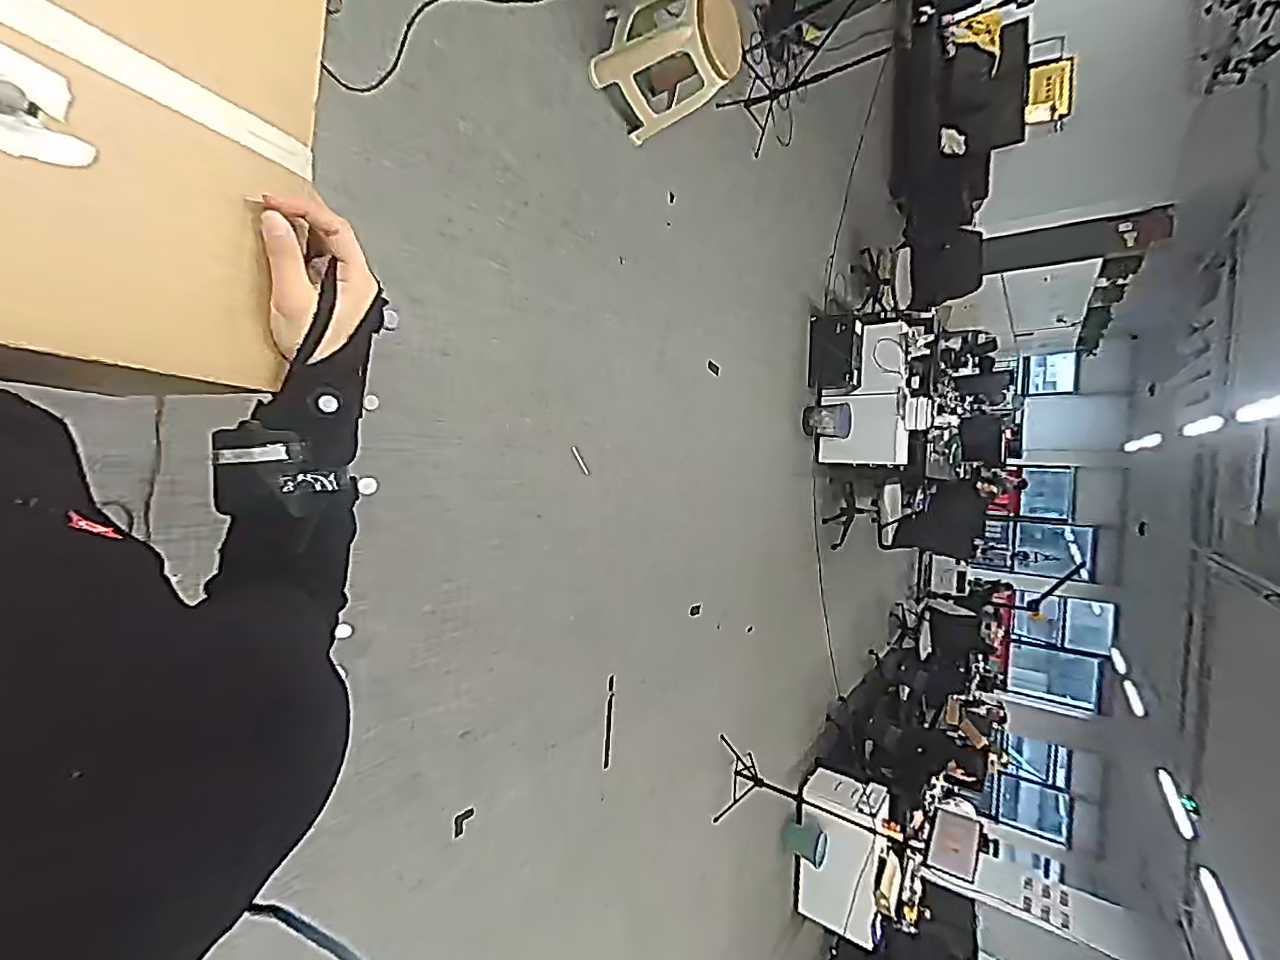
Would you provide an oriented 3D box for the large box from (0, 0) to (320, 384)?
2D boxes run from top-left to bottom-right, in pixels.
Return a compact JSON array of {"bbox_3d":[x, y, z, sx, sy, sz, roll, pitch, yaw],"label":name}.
[{"bbox_3d":[-0.463,-0.240,0.281,0.408,0.320,0.320,6,90,-61],"label":"large box"}]
